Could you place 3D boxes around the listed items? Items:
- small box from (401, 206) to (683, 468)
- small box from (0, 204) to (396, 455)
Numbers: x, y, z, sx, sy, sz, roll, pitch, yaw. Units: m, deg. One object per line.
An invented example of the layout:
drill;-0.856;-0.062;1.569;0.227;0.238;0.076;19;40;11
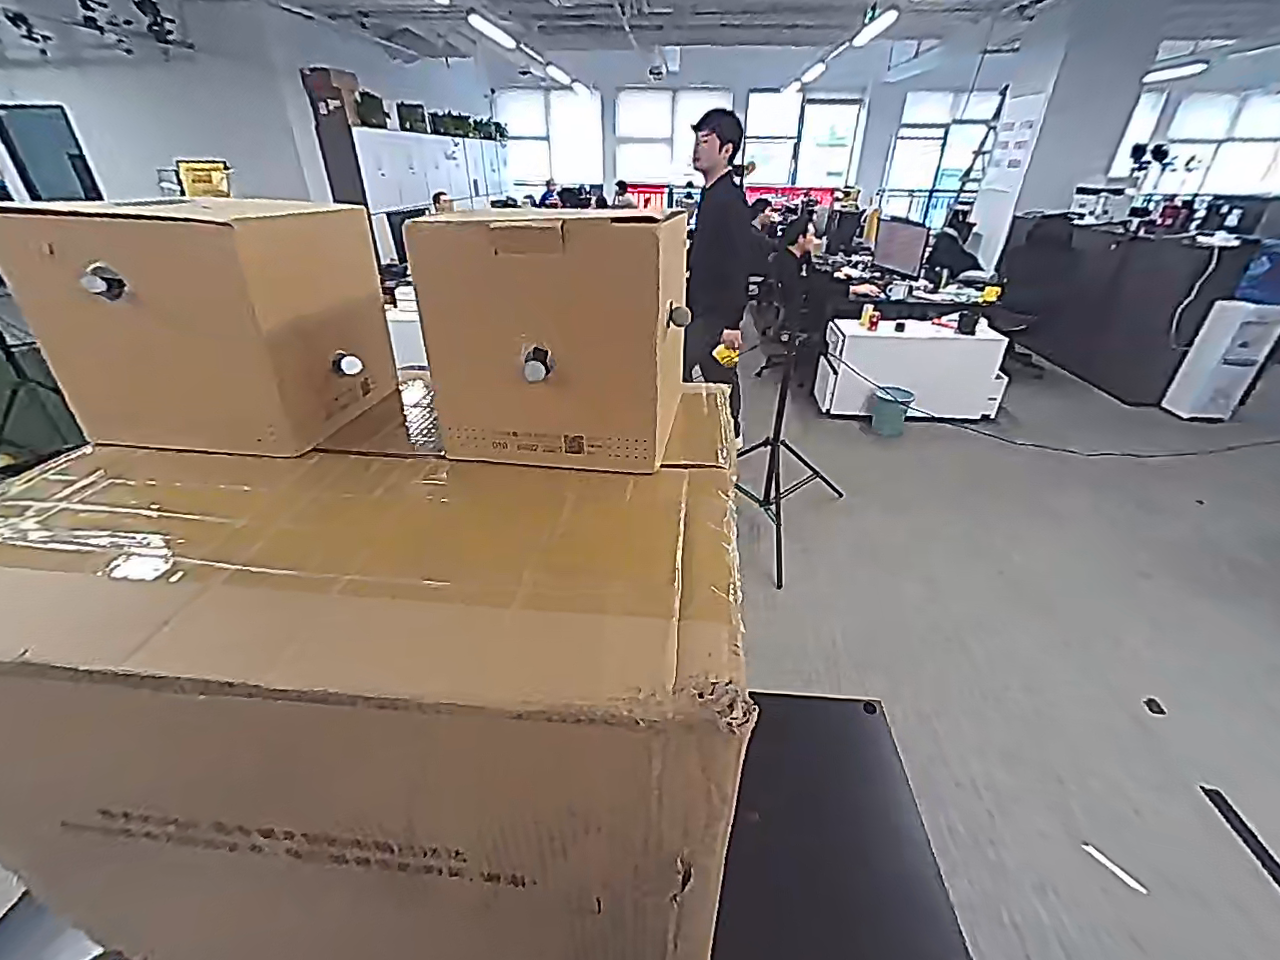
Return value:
small box;-0.055;-0.120;0.435;0.168;0.176;0.179;4;29;8
small box;-0.334;-0.130;0.448;0.179;0.176;0.168;4;29;4
